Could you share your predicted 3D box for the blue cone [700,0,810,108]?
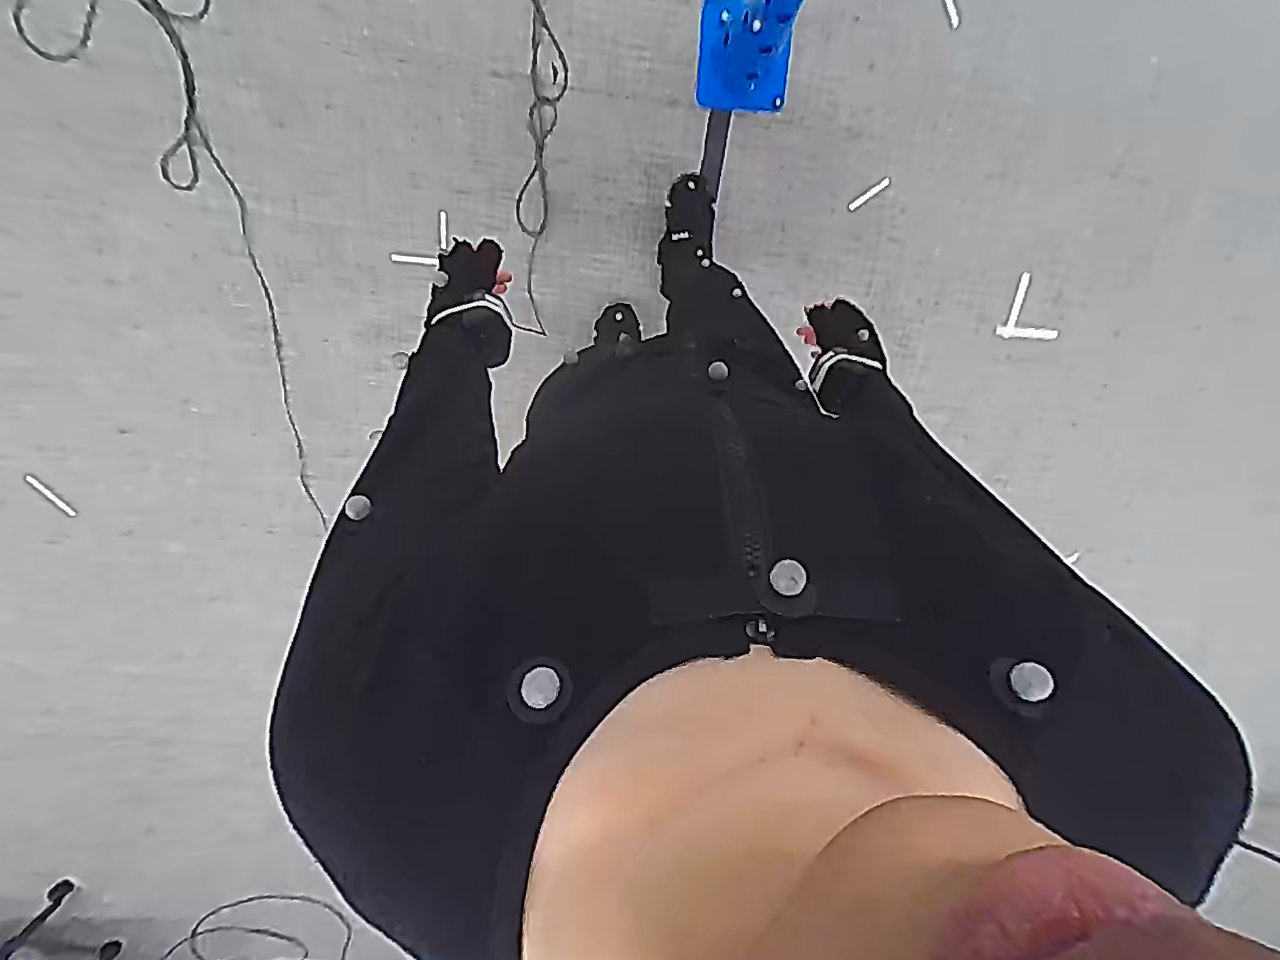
[{"bbox_3d":[0.242,-0.863,1.023,0.192,0.380,0.193,2,111,-6],"label":"blue cone"}]
